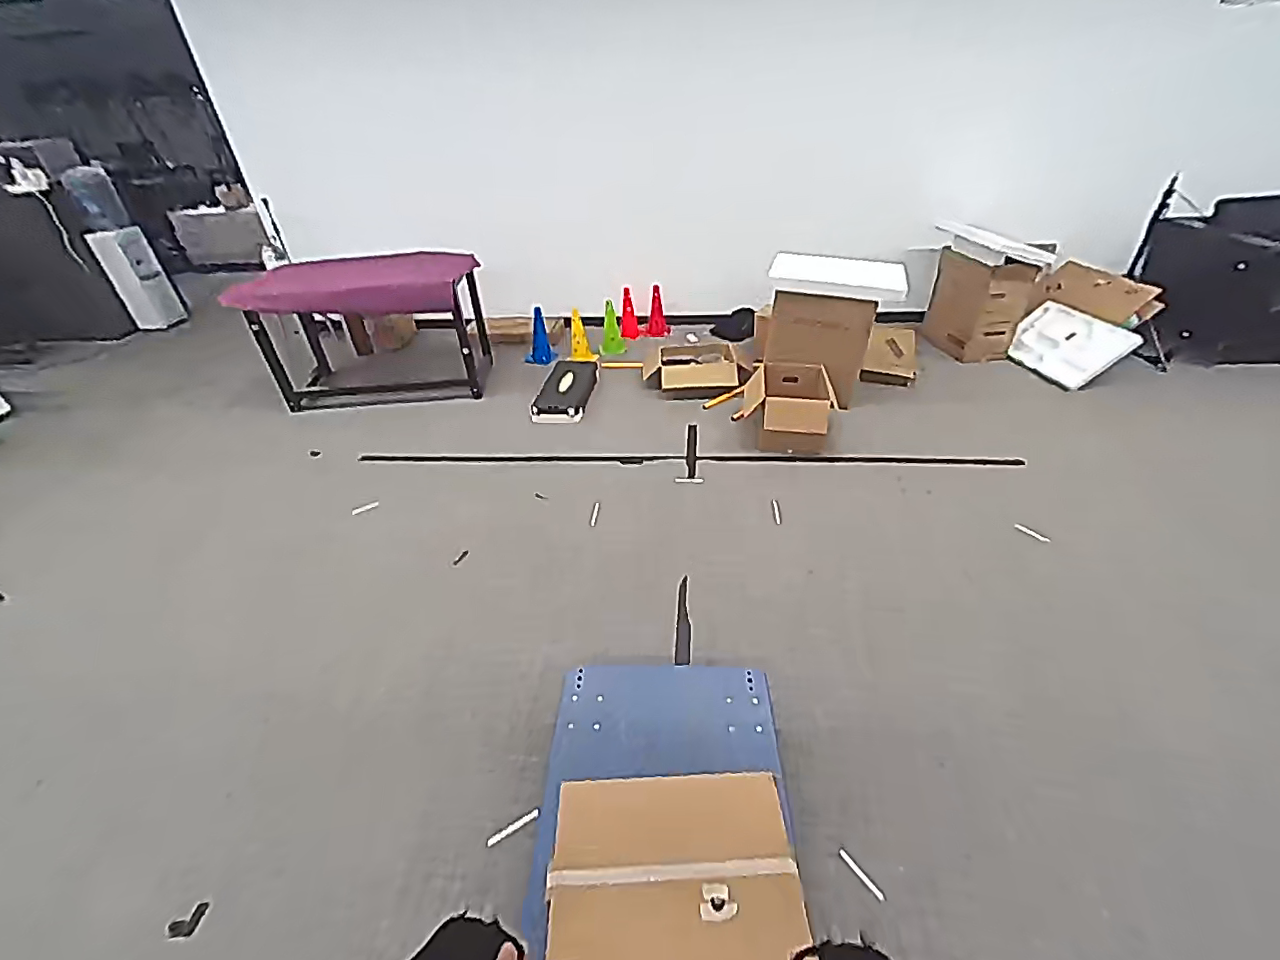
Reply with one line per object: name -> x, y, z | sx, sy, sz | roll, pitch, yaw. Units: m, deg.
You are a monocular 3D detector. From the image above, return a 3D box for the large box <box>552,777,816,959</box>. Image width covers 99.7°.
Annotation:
large box -> 0.063, 0.783, 0.983 | 0.408, 0.320, 0.320 | -2, 36, -1
